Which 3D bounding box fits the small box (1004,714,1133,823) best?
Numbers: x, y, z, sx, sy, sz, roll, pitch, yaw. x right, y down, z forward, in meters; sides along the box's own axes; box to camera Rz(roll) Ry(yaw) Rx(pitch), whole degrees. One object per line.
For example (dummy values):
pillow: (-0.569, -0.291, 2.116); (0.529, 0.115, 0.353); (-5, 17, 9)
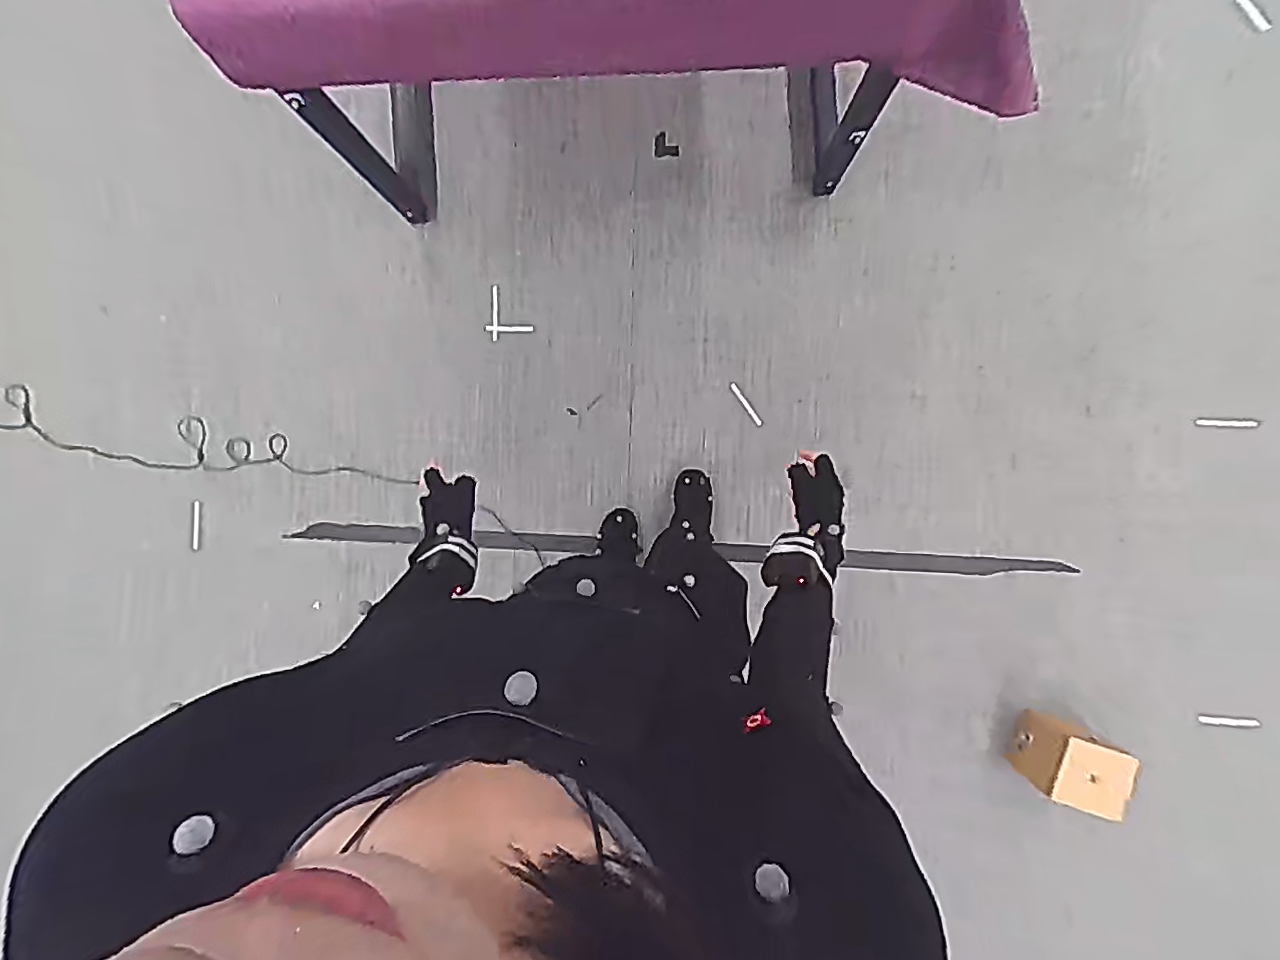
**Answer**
small box: (1.099, 0.735, 1.399); (0.179, 0.176, 0.168); (17, 90, 3)
